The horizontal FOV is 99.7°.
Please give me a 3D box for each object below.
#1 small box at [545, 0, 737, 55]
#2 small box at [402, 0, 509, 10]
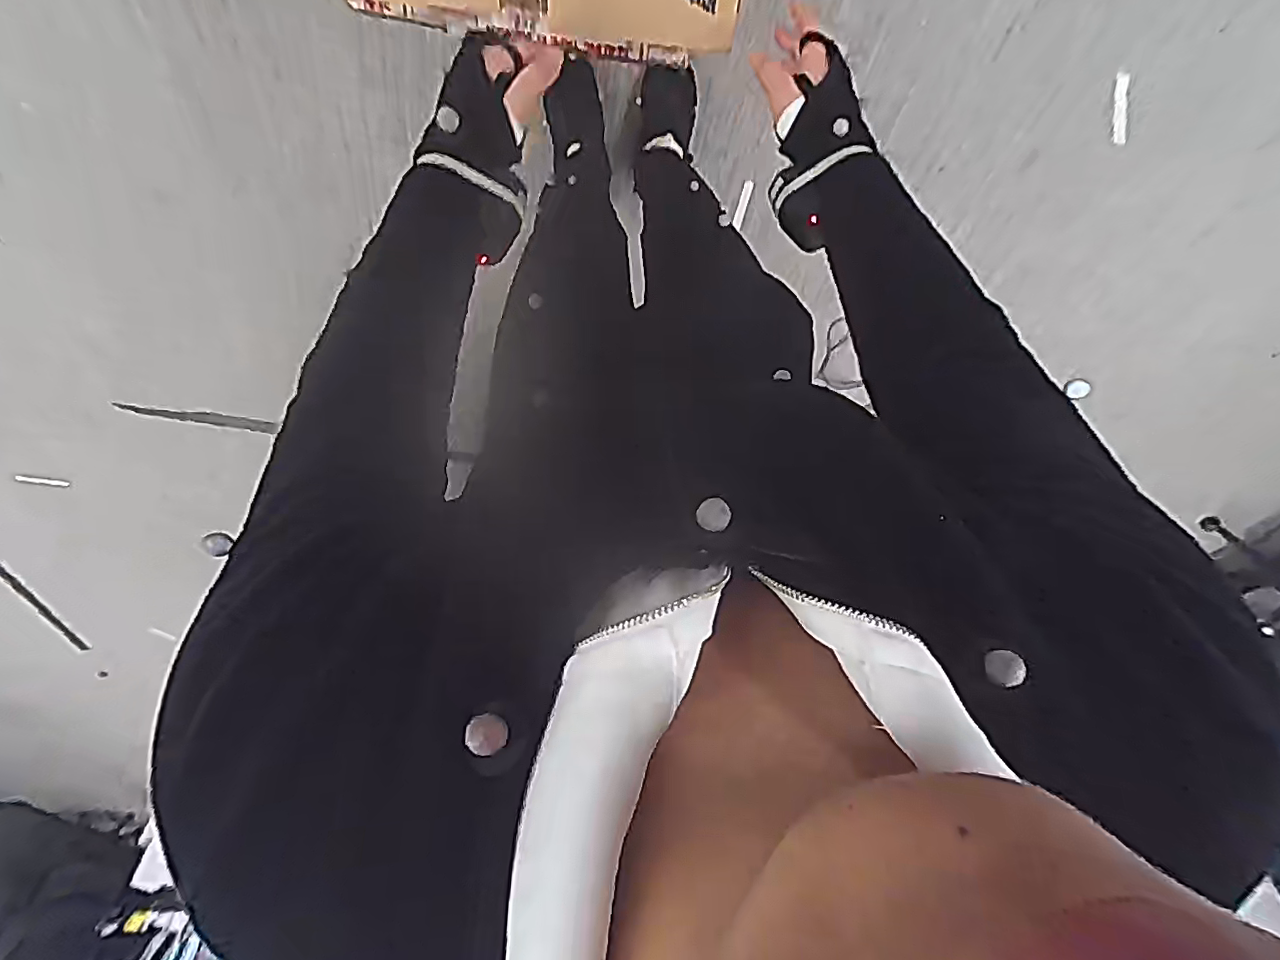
[{"bbox_3d":[0.004,-0.528,0.503,0.179,0.176,0.168,3,139,-6],"label":"small box"},{"bbox_3d":[-0.200,-0.549,0.473,0.168,0.176,0.179,3,141,-3],"label":"small box"}]
